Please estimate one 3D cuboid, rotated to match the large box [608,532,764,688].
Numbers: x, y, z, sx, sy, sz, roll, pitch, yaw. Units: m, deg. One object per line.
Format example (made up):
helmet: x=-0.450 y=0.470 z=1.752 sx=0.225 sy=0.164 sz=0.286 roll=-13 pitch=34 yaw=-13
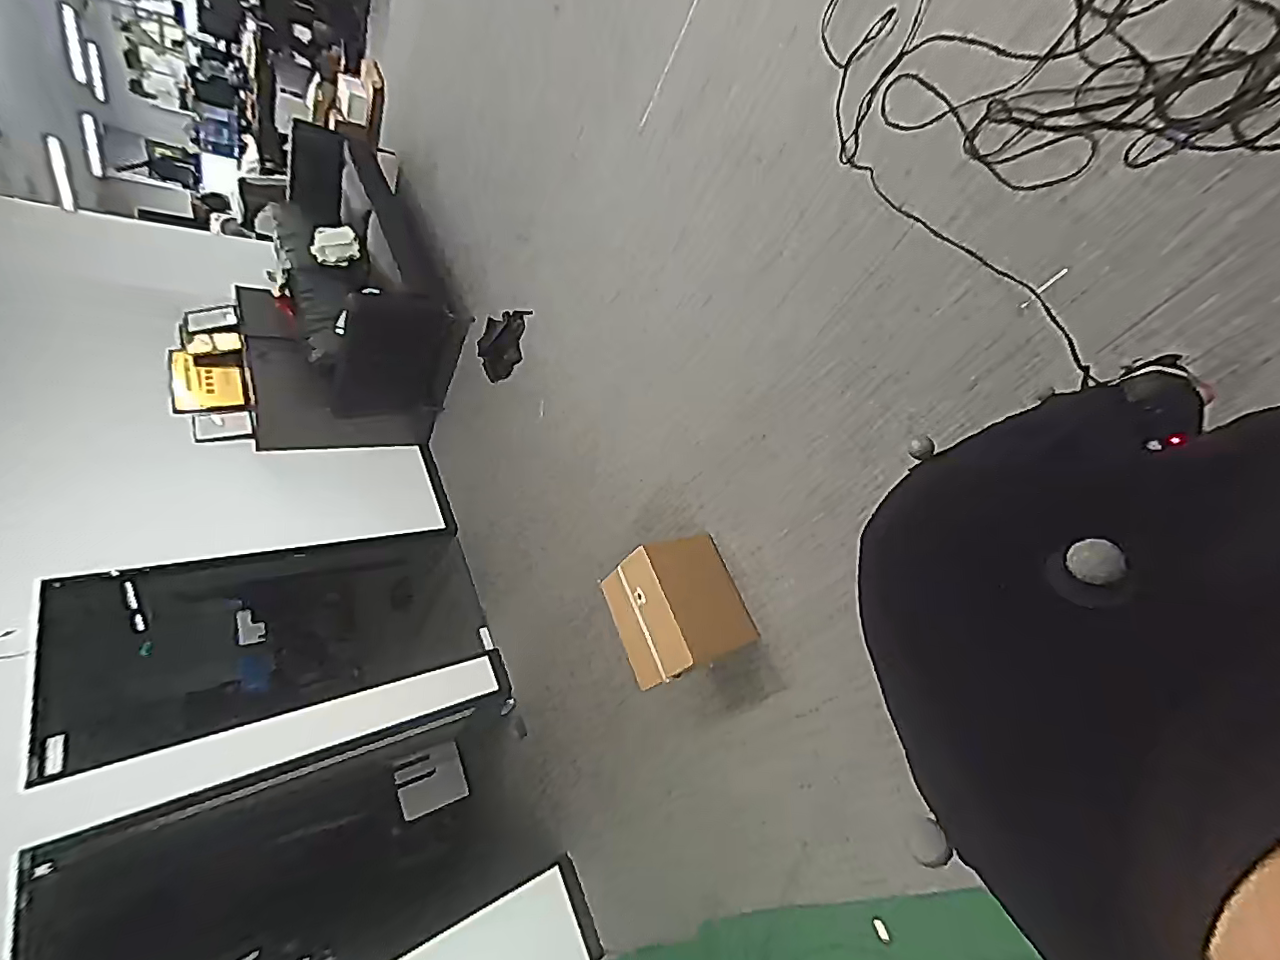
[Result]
large box: x=0.149 y=0.437 z=1.863 sx=0.320 sy=0.320 sz=0.408 roll=-48 pitch=57 yaw=43
